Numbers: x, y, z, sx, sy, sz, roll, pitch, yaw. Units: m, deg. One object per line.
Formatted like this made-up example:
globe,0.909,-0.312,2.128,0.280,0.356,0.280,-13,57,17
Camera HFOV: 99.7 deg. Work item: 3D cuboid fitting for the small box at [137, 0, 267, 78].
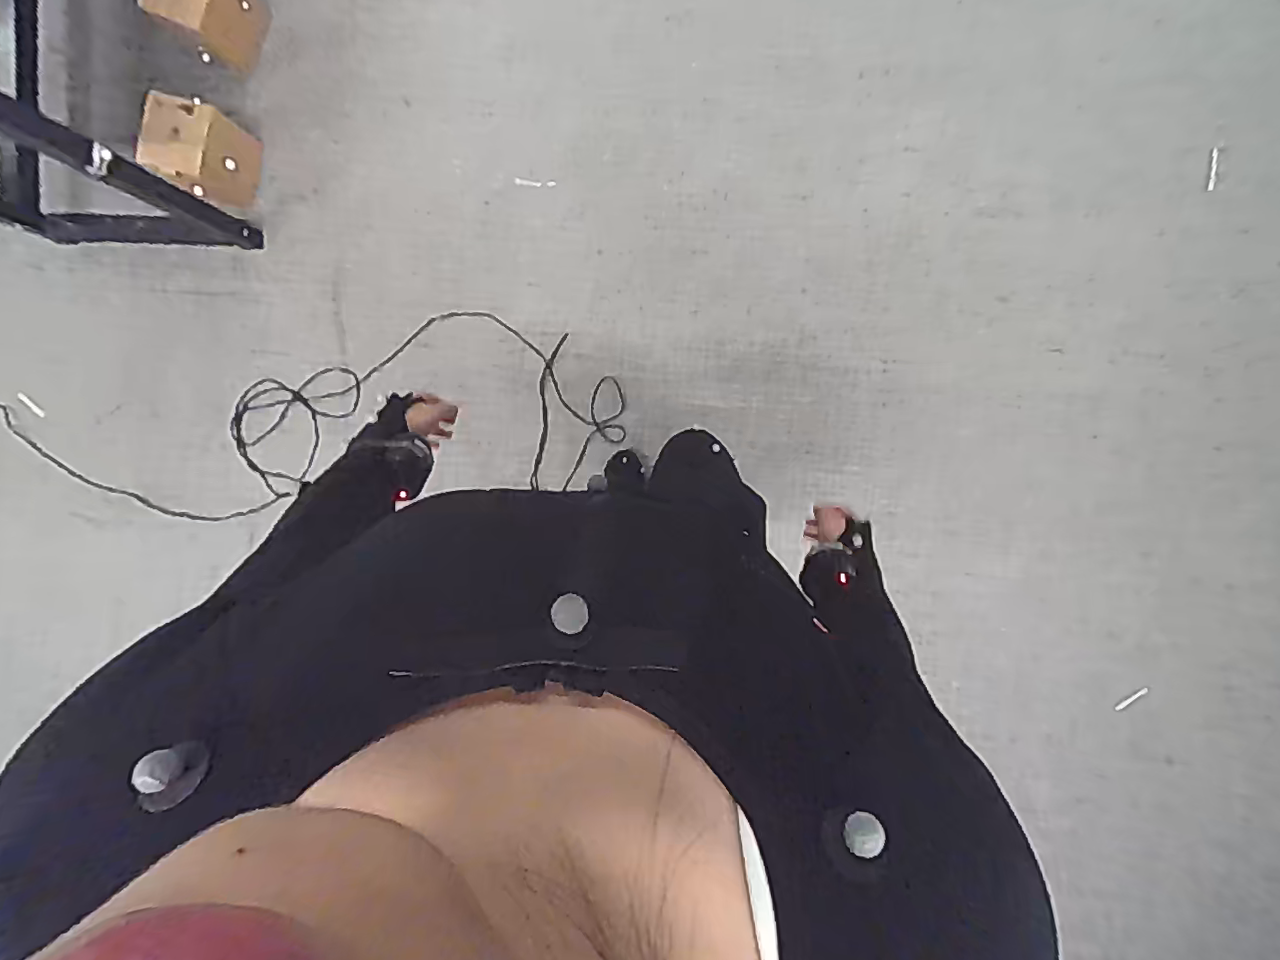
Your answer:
small box,-1.089,-1.175,1.359,0.168,0.176,0.179,23,95,1

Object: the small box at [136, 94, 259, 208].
small box,-1.121,-0.830,1.383,0.168,0.176,0.179,15,95,0
